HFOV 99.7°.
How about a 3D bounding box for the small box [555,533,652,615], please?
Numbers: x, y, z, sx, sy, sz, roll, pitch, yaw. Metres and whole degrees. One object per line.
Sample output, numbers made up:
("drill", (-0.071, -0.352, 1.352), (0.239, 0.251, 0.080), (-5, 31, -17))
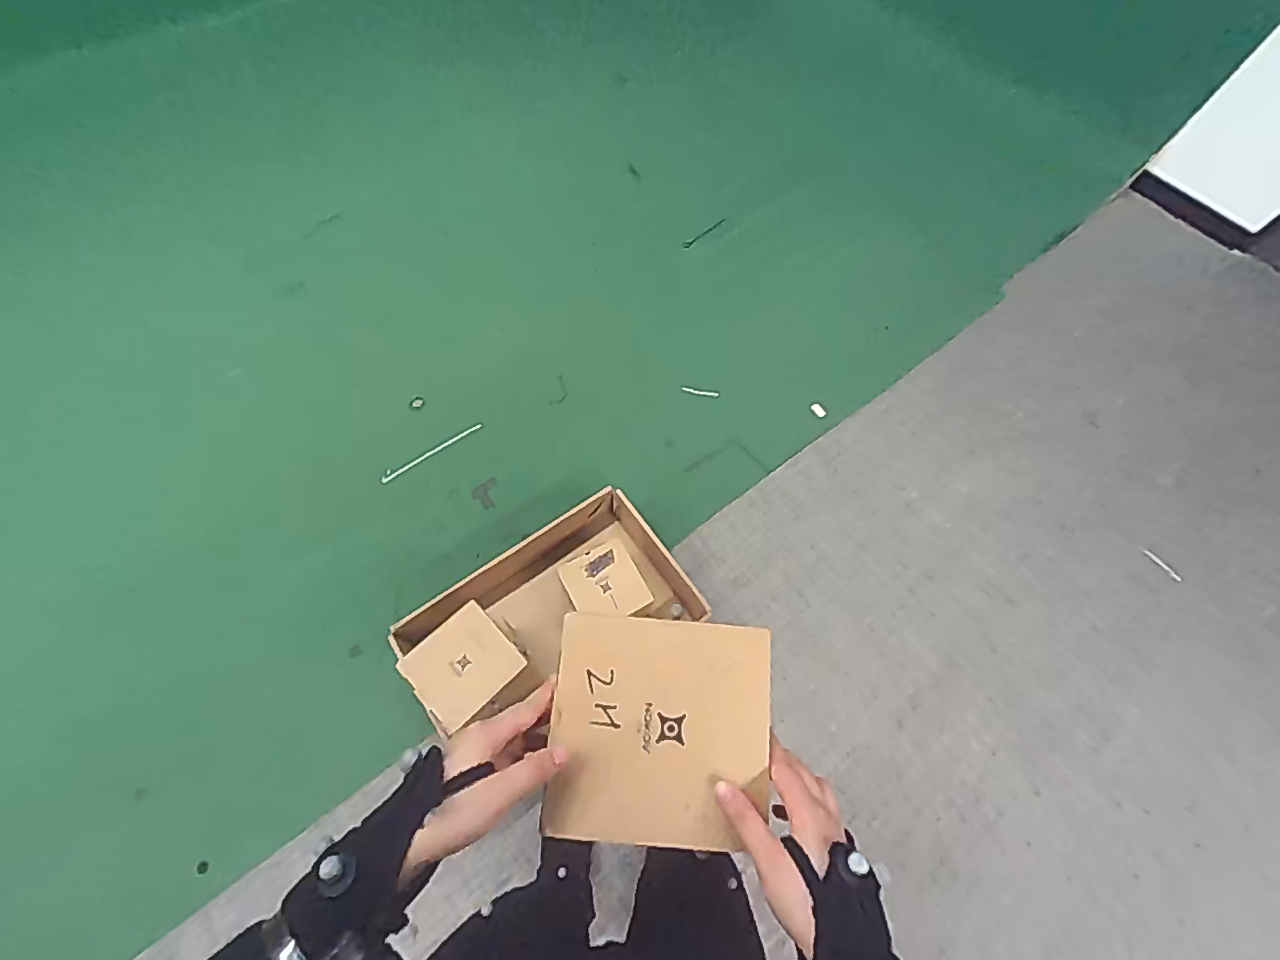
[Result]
("small box", (-0.089, 0.257, 1.285), (0.168, 0.176, 0.179), (-26, 72, -14))

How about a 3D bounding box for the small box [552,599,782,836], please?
("small box", (0.023, 0.207, 0.507), (0.179, 0.176, 0.168), (5, 73, 0))

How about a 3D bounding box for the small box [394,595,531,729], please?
("small box", (-0.329, 0.355, 1.042), (0.168, 0.176, 0.179), (44, 68, 13))

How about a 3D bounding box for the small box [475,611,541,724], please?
("small box", (-0.336, 0.420, 1.193), (0.179, 0.176, 0.168), (-32, 72, -16))
